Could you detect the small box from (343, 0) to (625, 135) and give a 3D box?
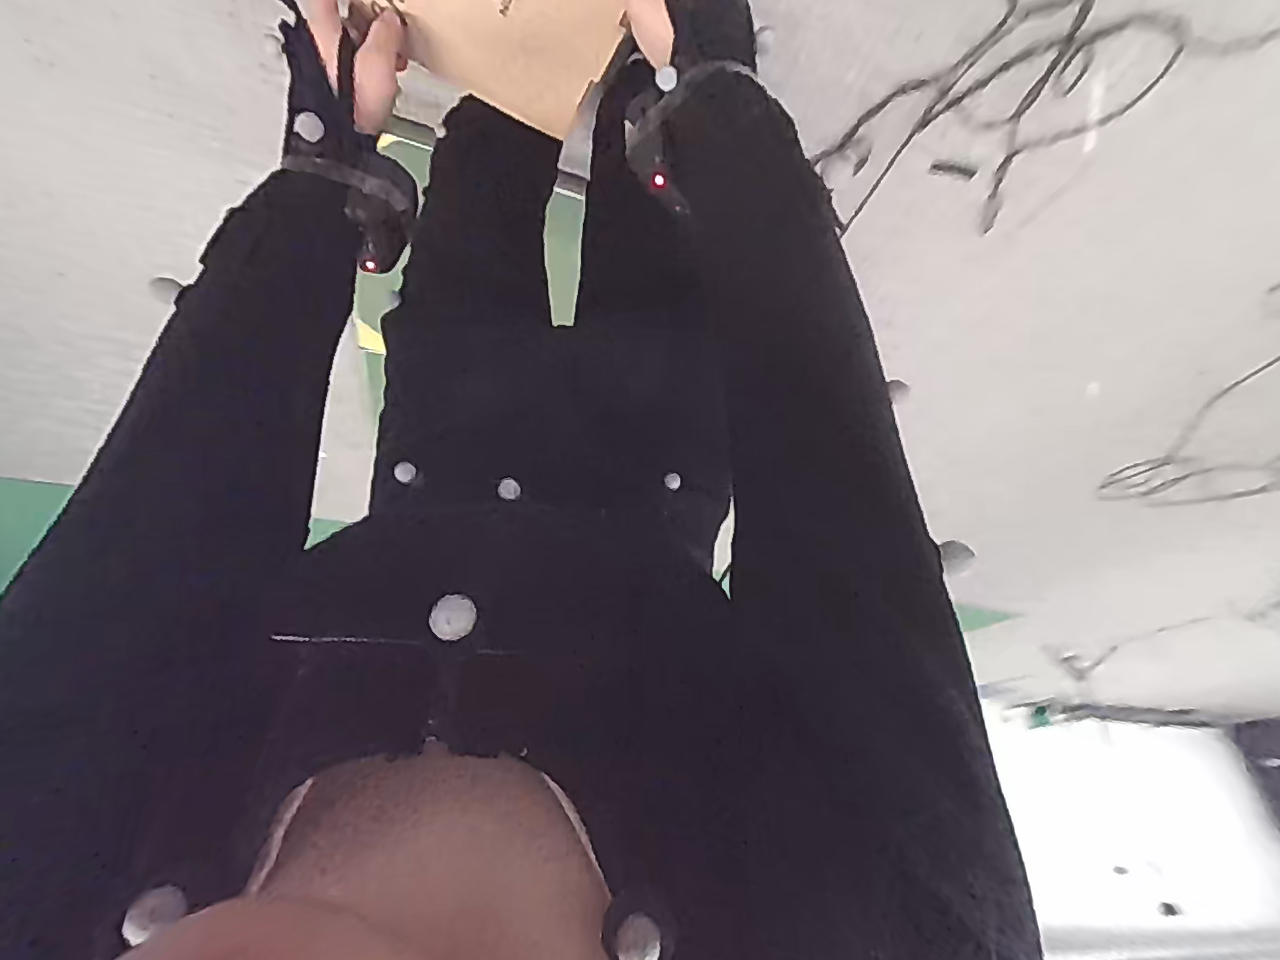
[{"bbox_3d":[-0.104,-0.421,0.406,0.179,0.176,0.168,13,151,-28],"label":"small box"}]
